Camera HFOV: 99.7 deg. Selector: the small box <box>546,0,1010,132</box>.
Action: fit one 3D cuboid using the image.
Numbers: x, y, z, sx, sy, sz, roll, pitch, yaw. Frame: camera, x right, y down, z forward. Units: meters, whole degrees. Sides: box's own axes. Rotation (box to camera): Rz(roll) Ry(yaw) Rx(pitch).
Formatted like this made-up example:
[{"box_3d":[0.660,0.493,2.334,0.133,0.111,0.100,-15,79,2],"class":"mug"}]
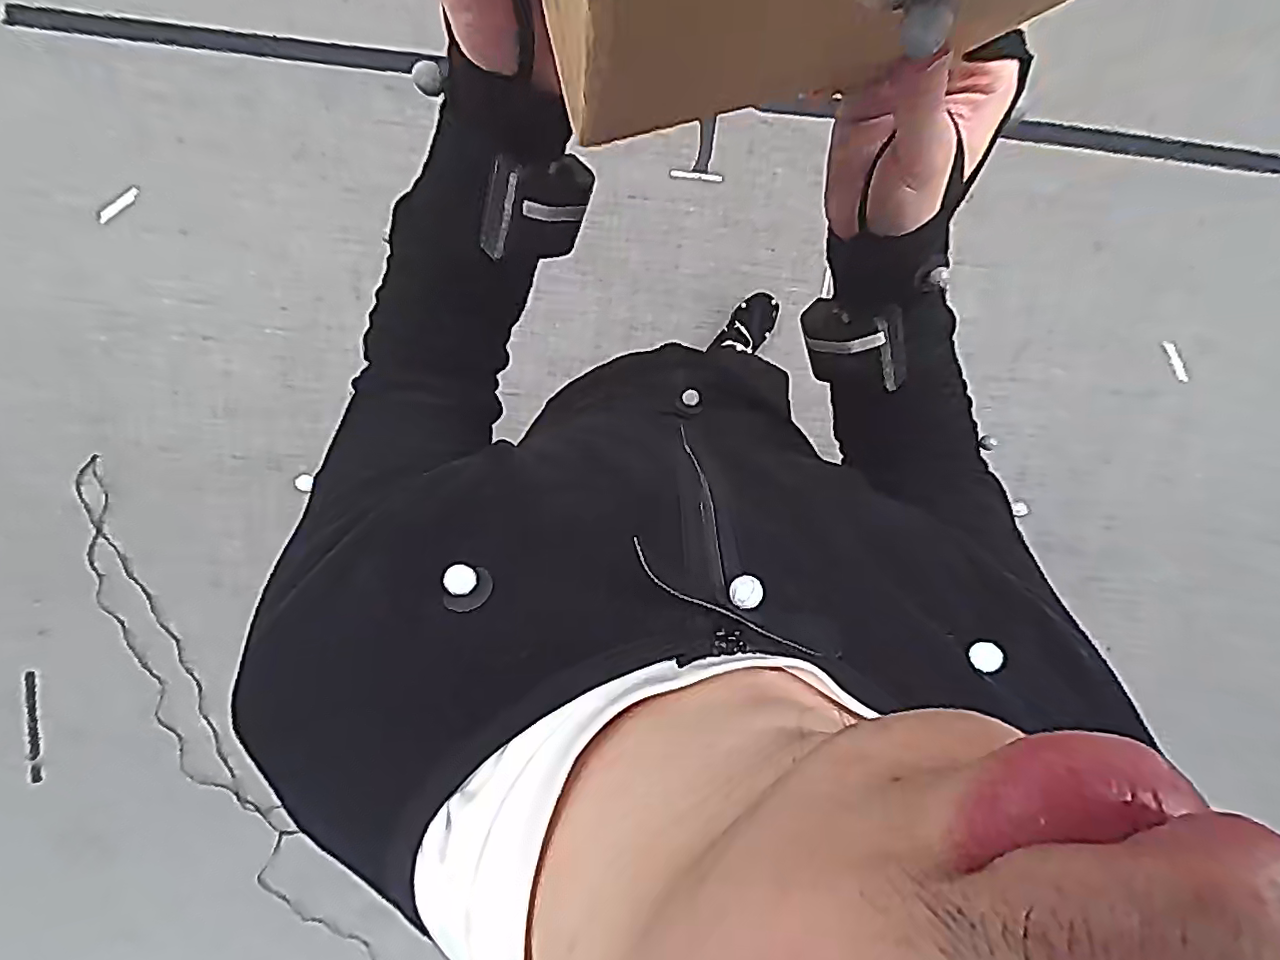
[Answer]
[{"box_3d":[0.045,-0.216,0.144,0.179,0.176,0.168,-15,115,-1],"class":"small box"}]
